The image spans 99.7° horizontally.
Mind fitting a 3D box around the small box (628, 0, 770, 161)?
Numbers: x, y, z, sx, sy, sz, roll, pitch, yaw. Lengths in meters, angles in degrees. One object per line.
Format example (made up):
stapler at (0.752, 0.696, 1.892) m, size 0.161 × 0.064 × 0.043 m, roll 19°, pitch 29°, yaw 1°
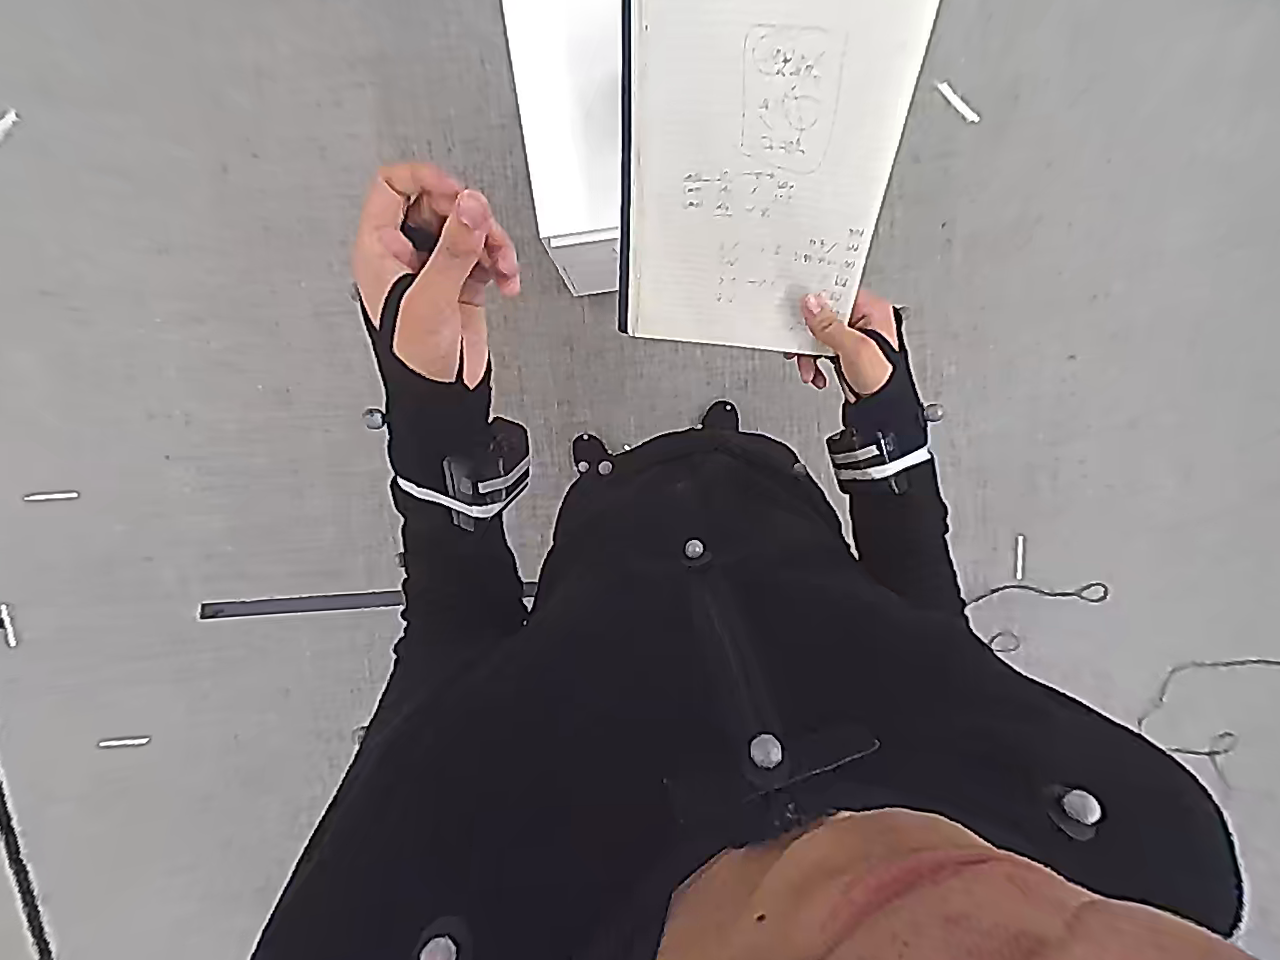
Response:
small box at (0.085, -0.646, 0.858) m, size 0.179 × 0.176 × 0.168 m, roll -17°, pitch 97°, yaw 2°
